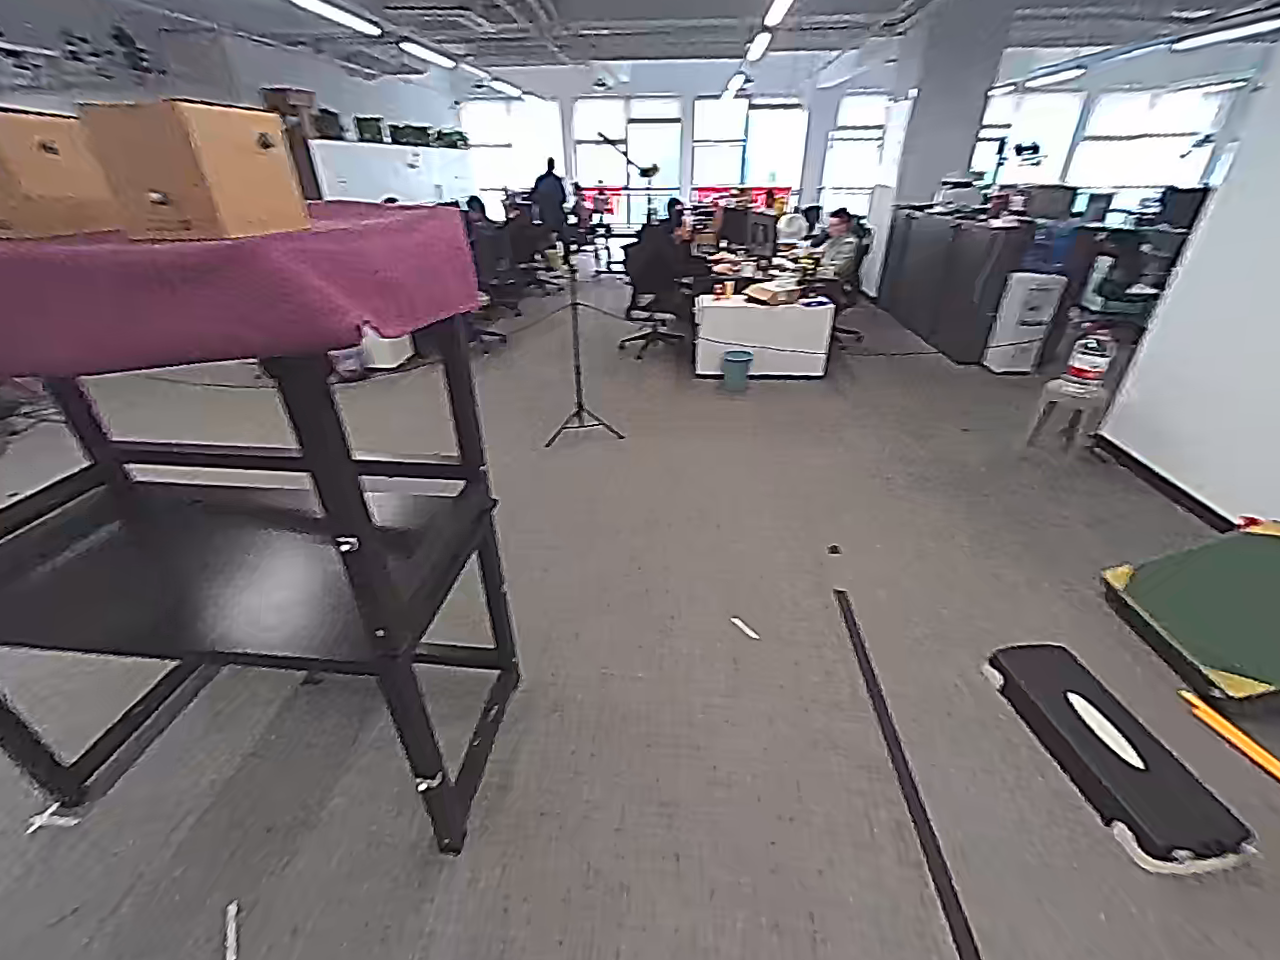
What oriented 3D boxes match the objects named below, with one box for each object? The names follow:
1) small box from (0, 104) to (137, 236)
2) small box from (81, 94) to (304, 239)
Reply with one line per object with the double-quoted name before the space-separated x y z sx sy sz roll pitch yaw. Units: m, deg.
"small box" -0.970 -0.484 0.855 0.168 0.176 0.179 0 29 1
"small box" -0.642 -0.463 0.808 0.168 0.176 0.179 4 30 9
